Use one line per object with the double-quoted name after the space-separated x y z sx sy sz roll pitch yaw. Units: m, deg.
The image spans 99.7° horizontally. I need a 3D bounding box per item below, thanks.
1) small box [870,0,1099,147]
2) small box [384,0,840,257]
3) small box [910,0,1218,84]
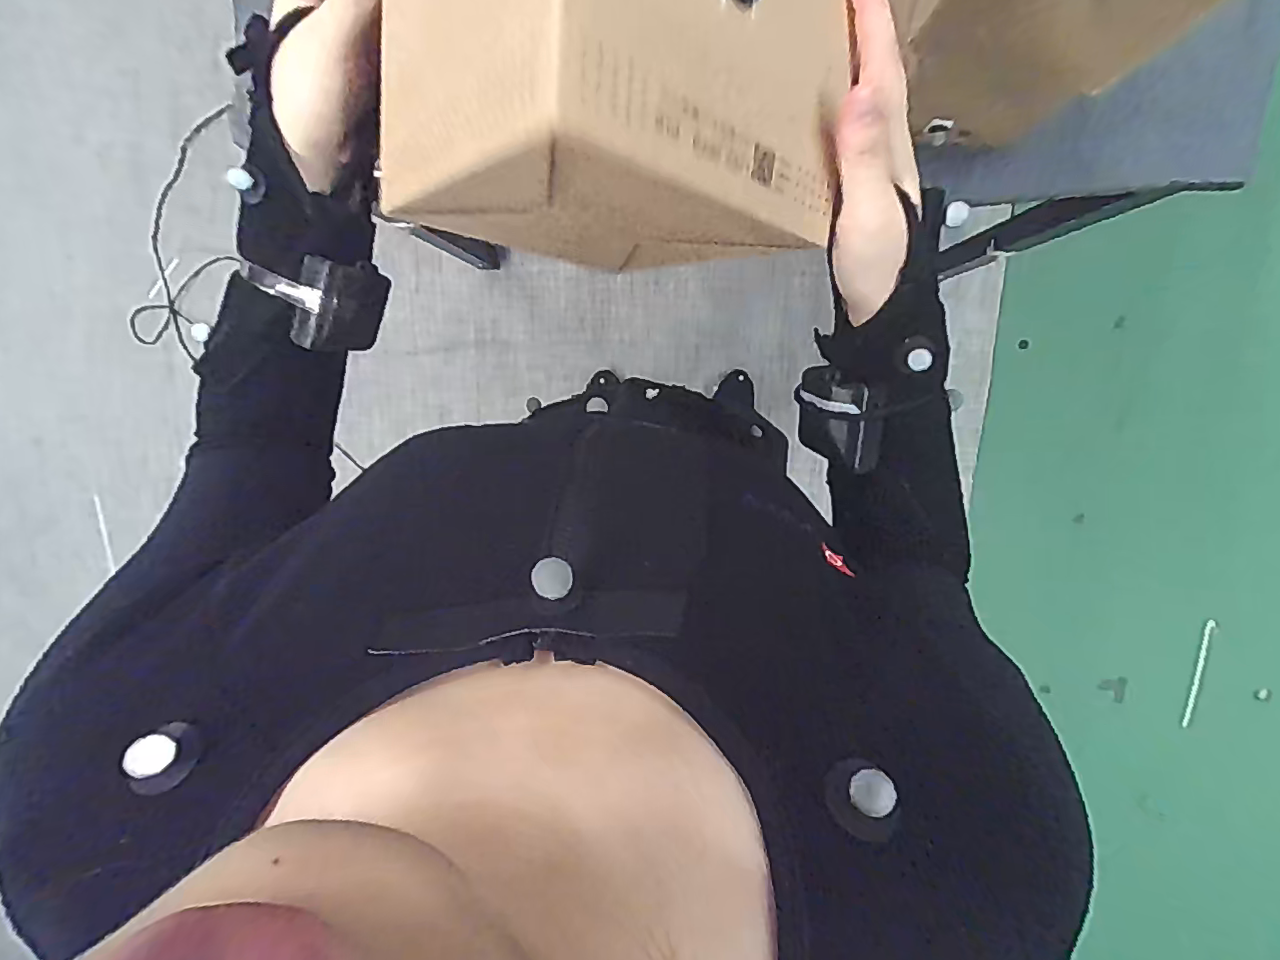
0.348 -0.469 0.544 0.168 0.176 0.179 4 101 5 "small box"
-0.016 -0.211 0.269 0.179 0.168 0.176 22 113 46 "small box"
0.333 -0.426 0.387 0.179 0.176 0.168 15 101 3 "small box"
